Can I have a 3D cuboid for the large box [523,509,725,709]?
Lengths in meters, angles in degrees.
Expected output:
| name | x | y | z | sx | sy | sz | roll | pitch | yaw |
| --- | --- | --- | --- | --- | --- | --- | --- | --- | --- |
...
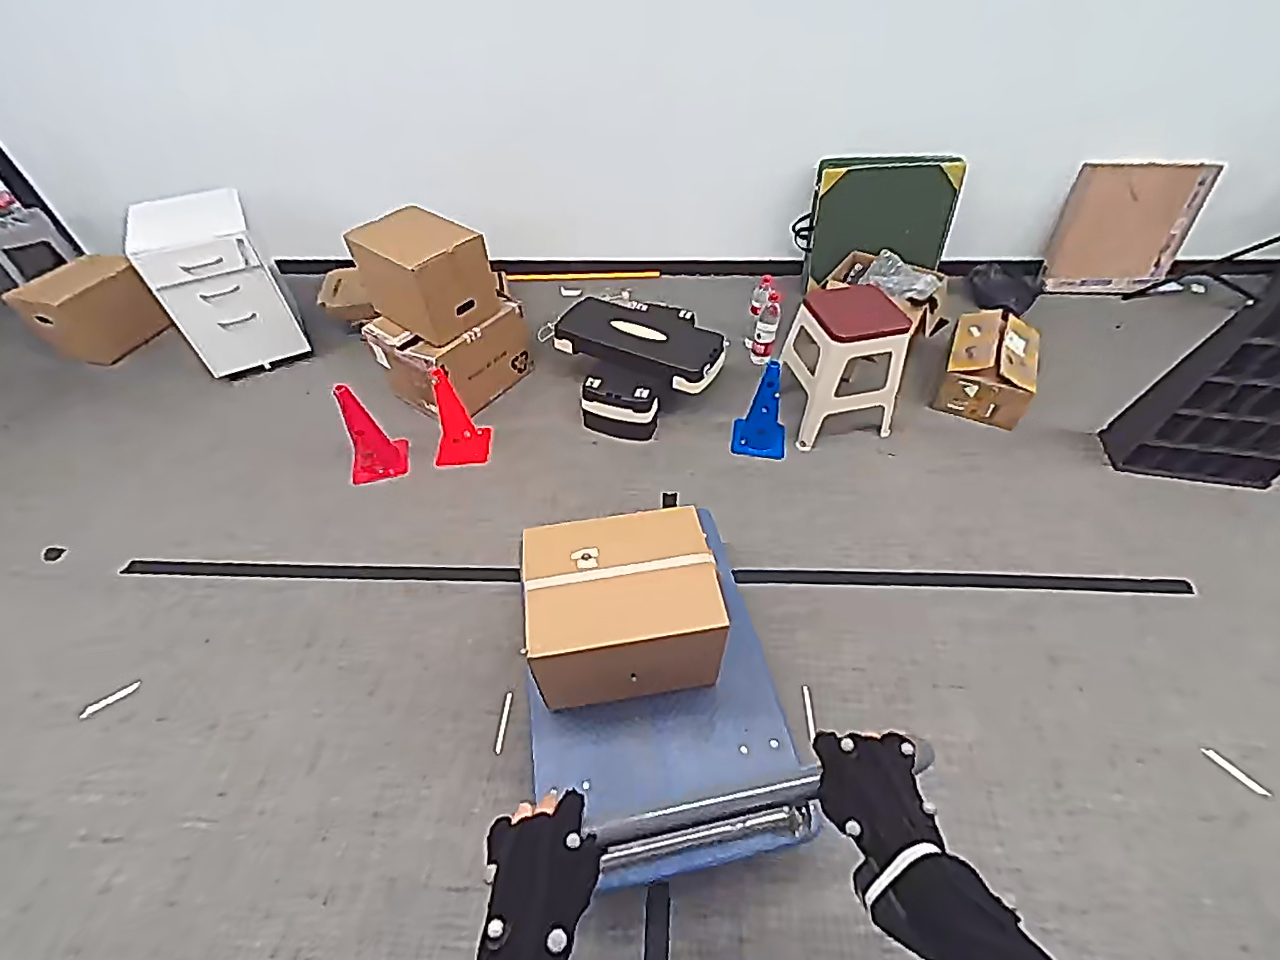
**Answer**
| name | x | y | z | sx | sy | sz | roll | pitch | yaw |
| --- | --- | --- | --- | --- | --- | --- | --- | --- | --- |
| large box | -0.041 | 0.308 | 1.277 | 0.408 | 0.320 | 0.320 | -9 | 49 | -5 |
